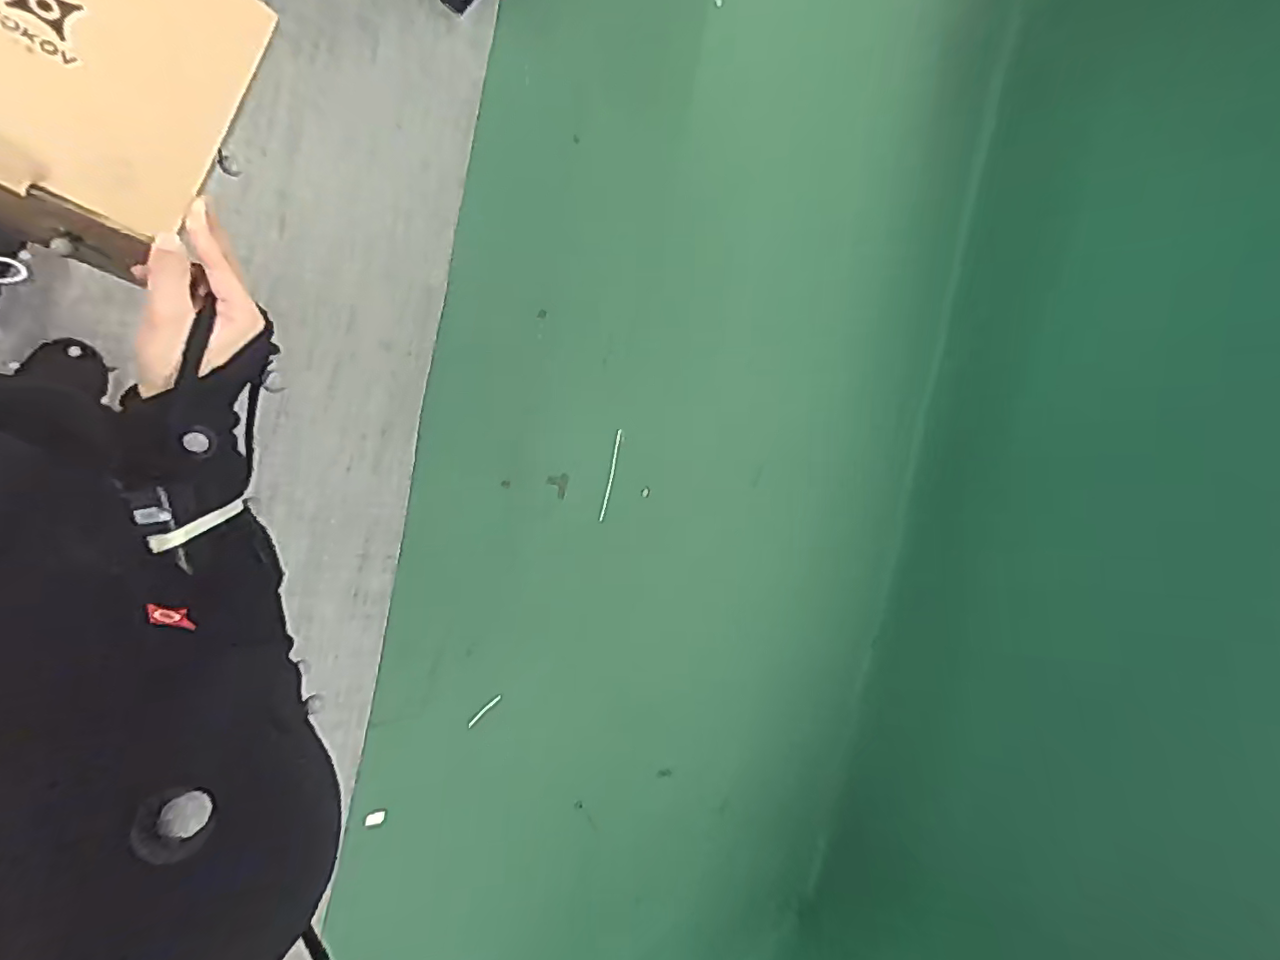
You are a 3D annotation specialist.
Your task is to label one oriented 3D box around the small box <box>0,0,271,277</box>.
[{"bbox_3d":[-0.370,-0.253,0.339,0.168,0.176,0.179,25,78,-44],"label":"small box"}]
